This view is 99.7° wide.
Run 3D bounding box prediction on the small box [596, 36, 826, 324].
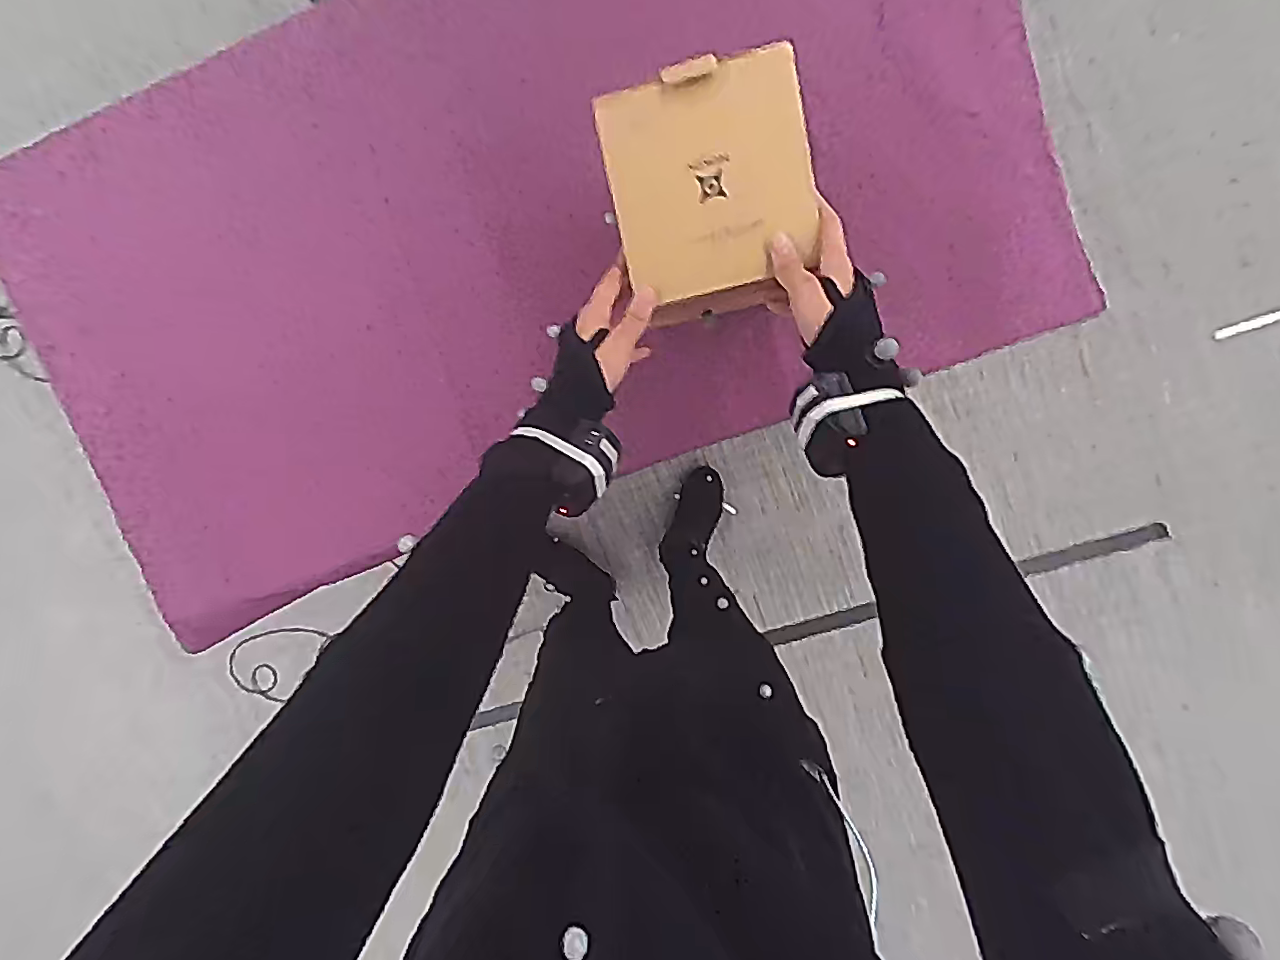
[{"bbox_3d":[0.065,-0.261,0.519,0.168,0.176,0.179,-11,99,7],"label":"small box"}]
